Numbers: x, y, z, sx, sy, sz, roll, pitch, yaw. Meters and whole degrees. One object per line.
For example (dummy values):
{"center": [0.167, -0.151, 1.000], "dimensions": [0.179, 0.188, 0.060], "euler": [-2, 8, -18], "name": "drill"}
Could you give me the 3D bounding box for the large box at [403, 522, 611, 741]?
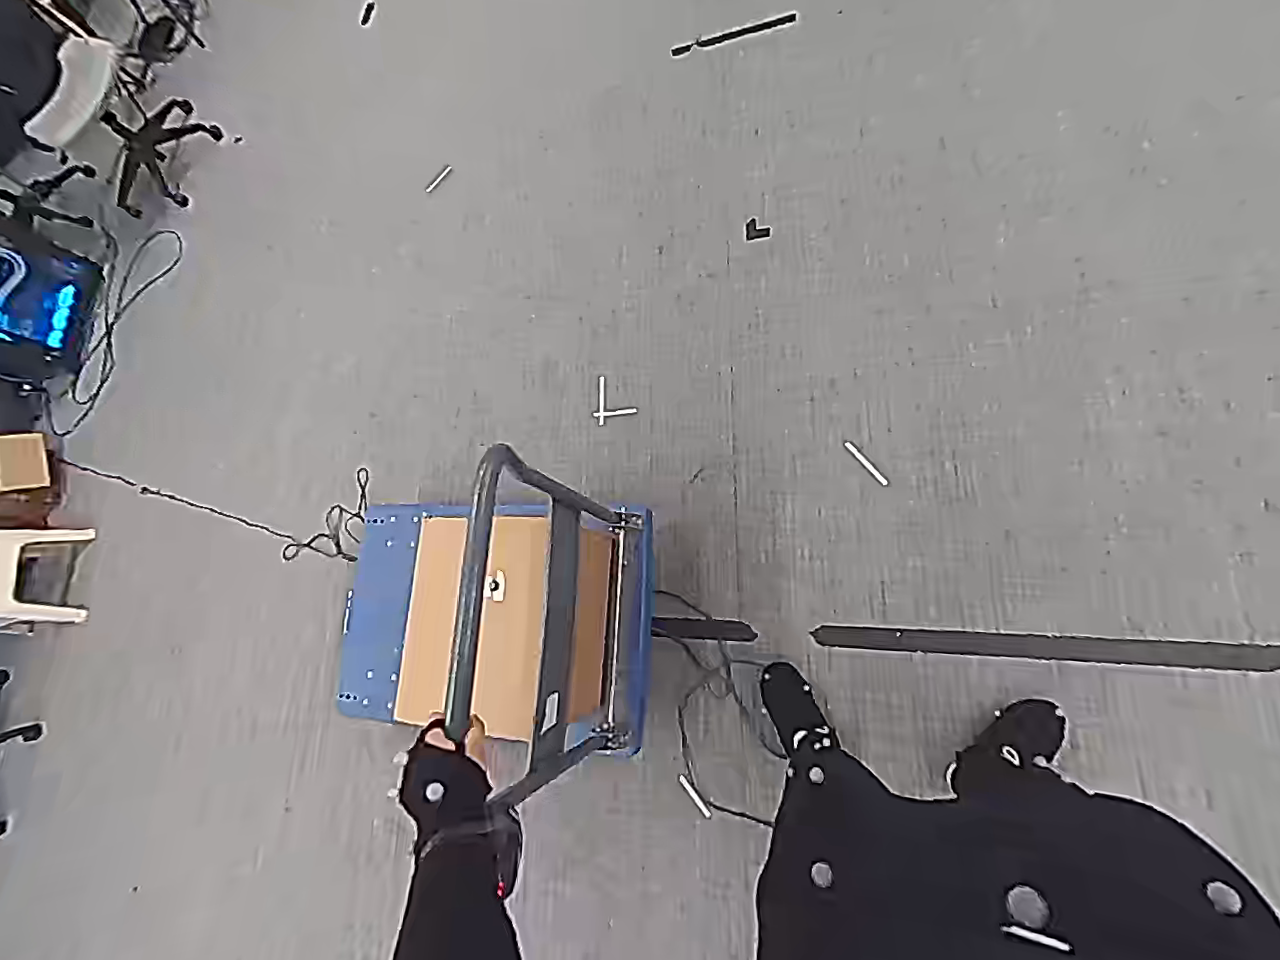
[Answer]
{"center": [-0.267, 0.317, 1.193], "dimensions": [0.320, 0.320, 0.408], "euler": [-1, 76, 18], "name": "large box"}
